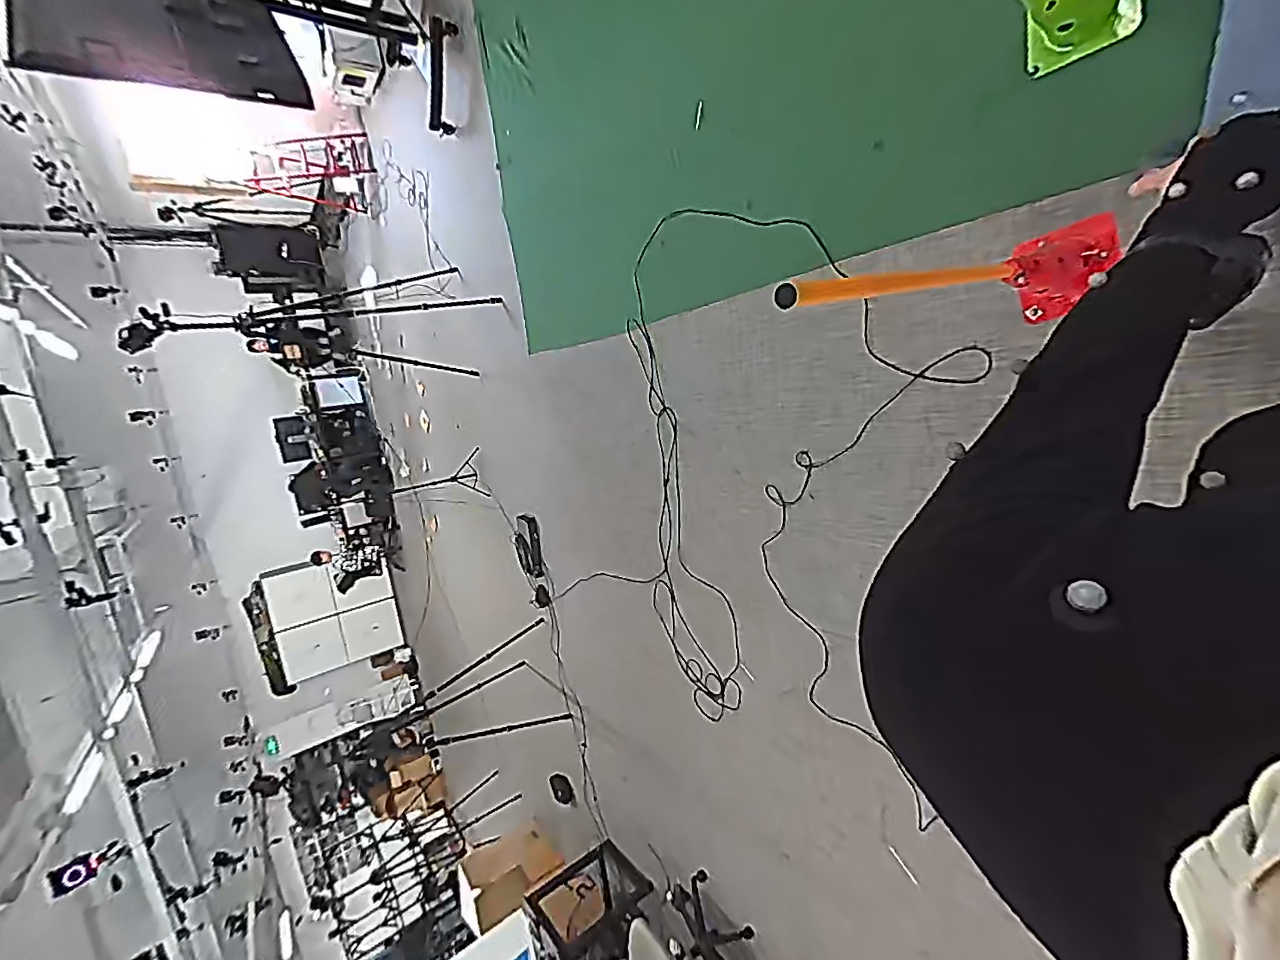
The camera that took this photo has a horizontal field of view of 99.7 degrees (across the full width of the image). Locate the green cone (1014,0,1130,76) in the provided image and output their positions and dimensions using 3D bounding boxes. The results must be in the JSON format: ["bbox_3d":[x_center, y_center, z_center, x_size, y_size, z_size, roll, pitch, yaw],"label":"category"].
[{"bbox_3d":[0.791,-0.991,1.068,0.200,0.368,0.202,4,105,54],"label":"green cone"}]
